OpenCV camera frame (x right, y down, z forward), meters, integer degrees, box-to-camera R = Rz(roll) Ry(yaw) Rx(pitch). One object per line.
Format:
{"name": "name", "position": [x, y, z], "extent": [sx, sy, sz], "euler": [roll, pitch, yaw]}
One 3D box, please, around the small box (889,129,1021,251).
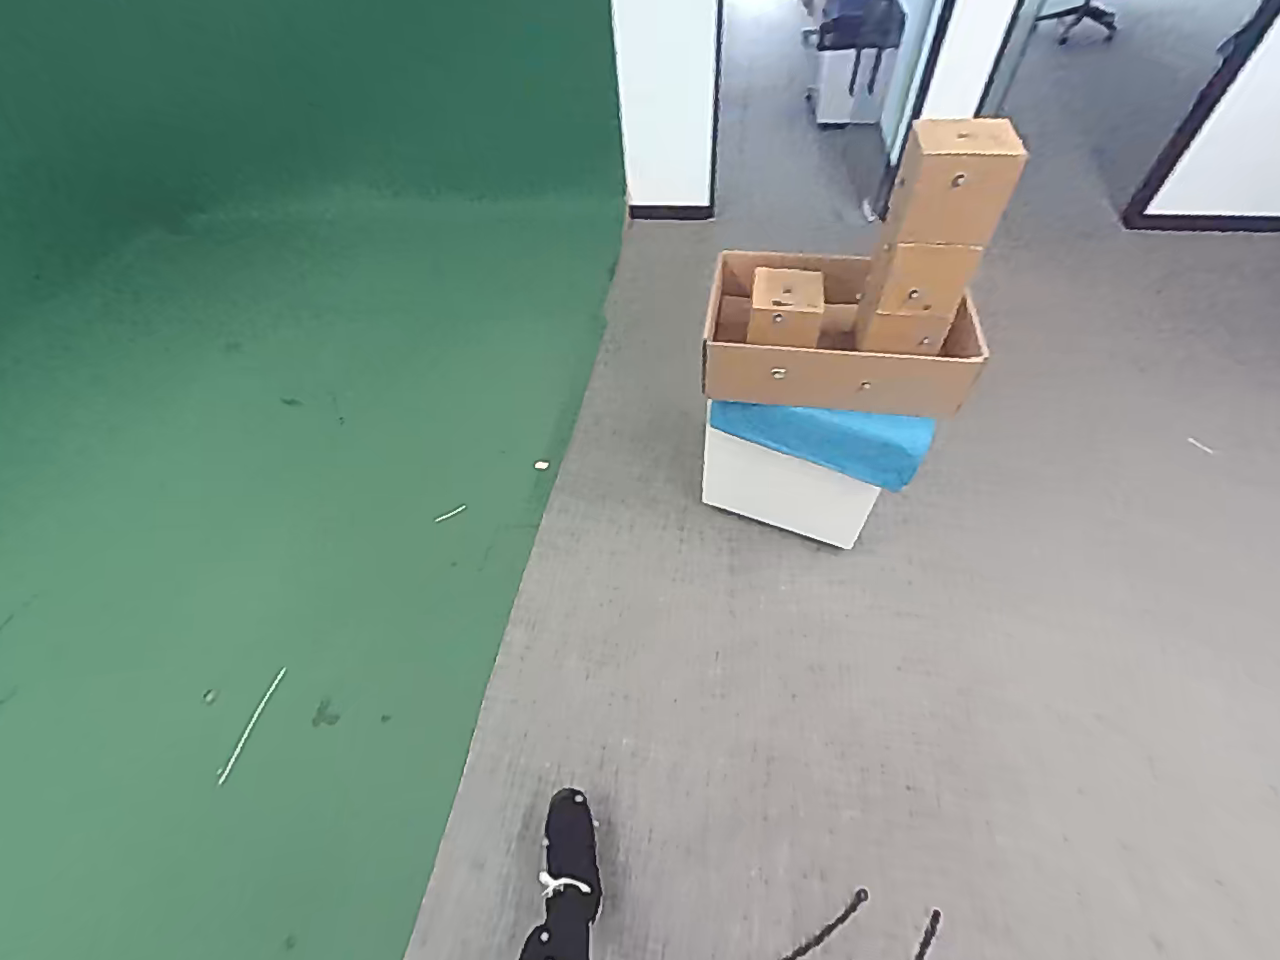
{"name": "small box", "position": [0.609, -0.574, 1.076], "extent": [0.179, 0.176, 0.168], "euler": [7, 52, 10]}

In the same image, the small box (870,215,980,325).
{"name": "small box", "position": [0.621, -0.470, 1.204], "extent": [0.168, 0.176, 0.179], "euler": [7, 52, 10]}
